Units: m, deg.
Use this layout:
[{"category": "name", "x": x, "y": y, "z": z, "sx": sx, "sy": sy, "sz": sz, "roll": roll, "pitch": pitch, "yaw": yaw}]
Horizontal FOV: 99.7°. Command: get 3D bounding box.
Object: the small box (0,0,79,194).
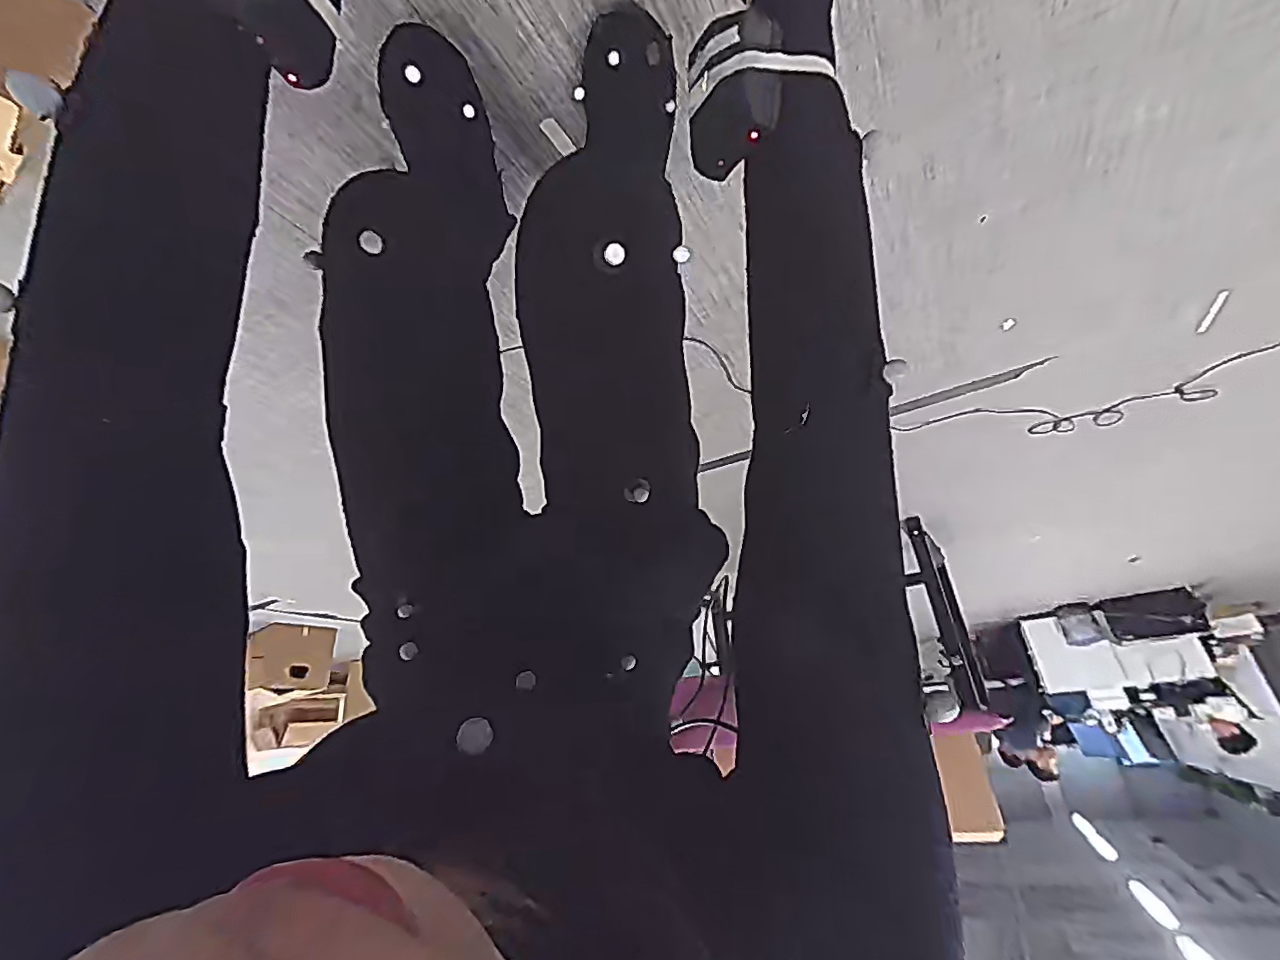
[{"category": "small box", "x": -0.641, "y": -0.392, "z": 0.465, "sx": 0.168, "sy": 0.176, "sz": 0.179, "roll": -22, "pitch": 150, "yaw": 31}]
